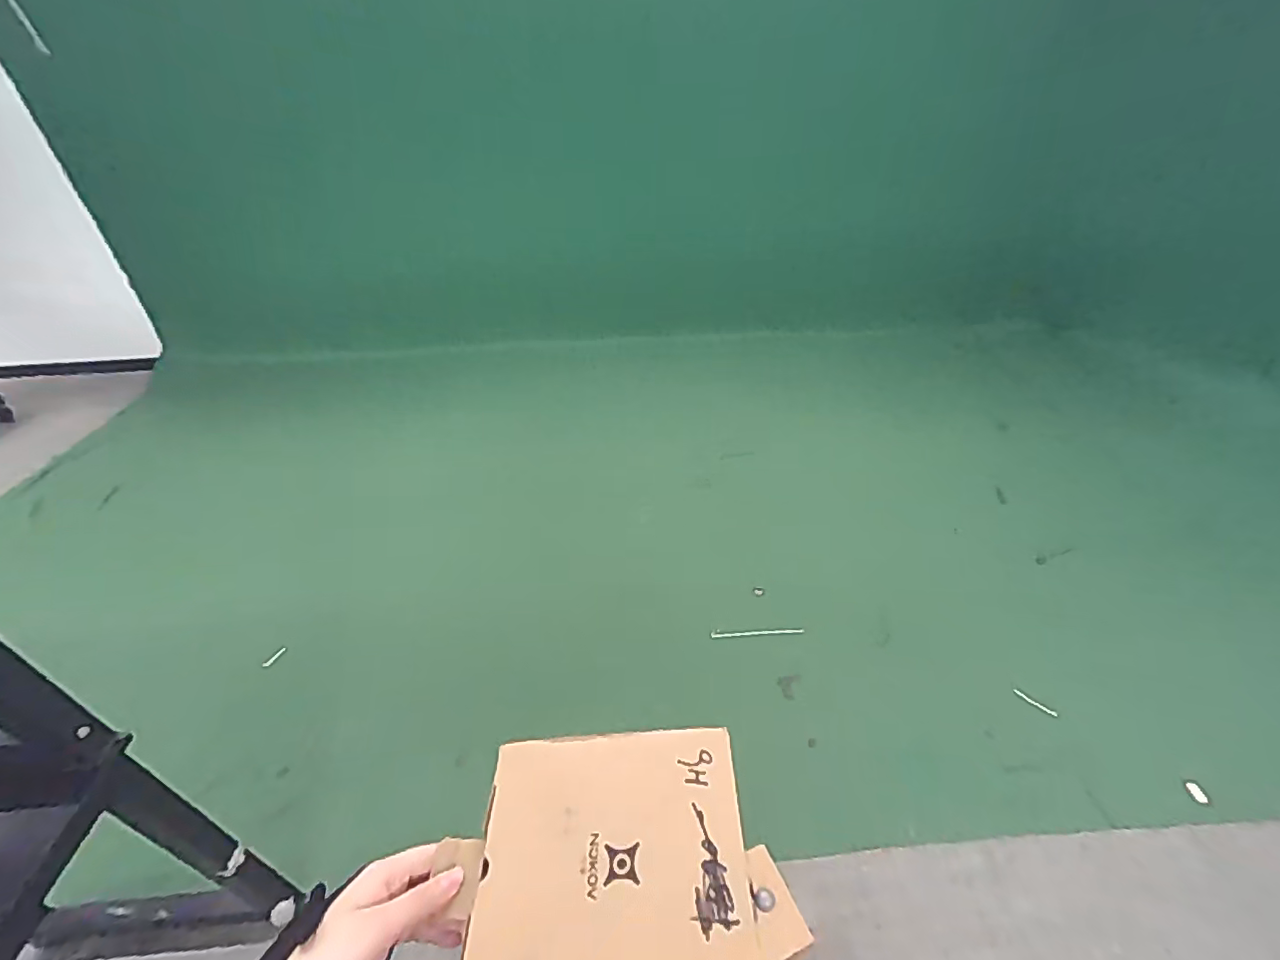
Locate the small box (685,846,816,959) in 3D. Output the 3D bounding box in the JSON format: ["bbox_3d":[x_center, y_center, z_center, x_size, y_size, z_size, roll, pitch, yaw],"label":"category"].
[{"bbox_3d":[0.195,0.833,1.006,0.179,0.176,0.168,-16,42,-18],"label":"small box"}]
